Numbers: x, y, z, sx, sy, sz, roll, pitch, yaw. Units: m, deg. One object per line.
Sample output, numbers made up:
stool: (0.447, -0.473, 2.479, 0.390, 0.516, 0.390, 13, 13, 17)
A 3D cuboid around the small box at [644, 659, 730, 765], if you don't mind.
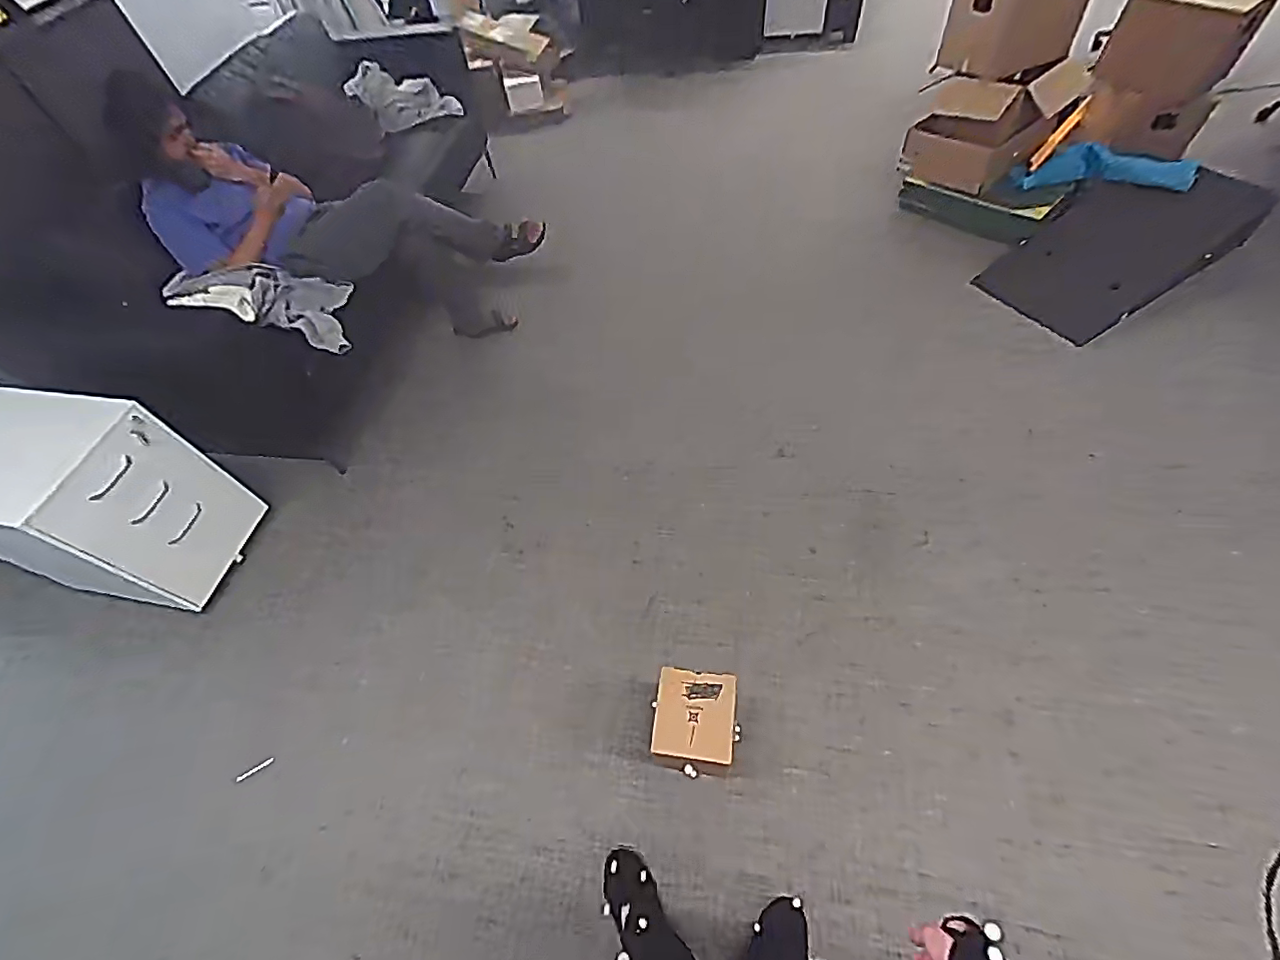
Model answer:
small box: (0.108, 0.521, 1.207, 0.168, 0.176, 0.179, 5, 57, 10)
